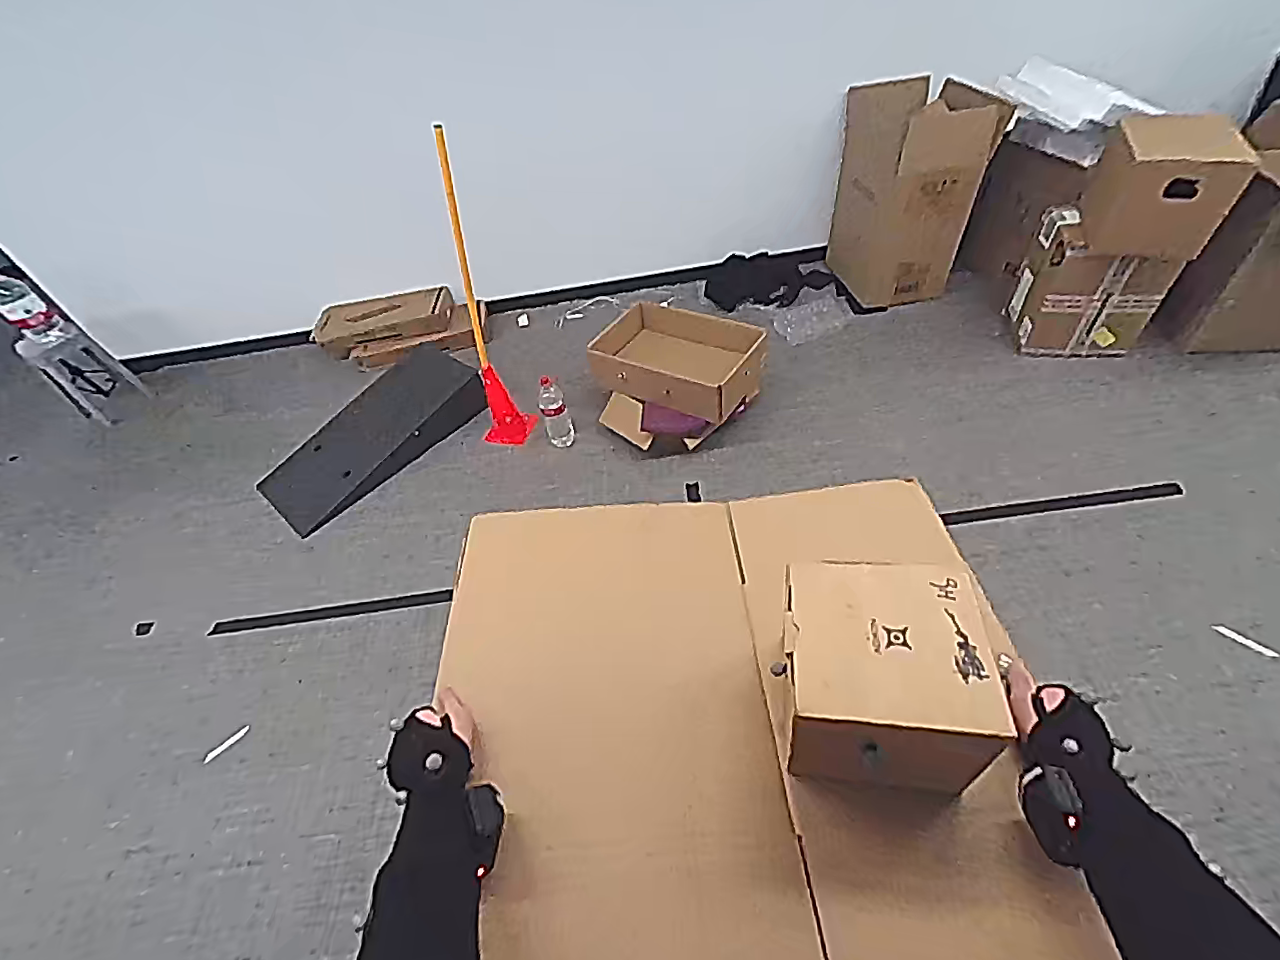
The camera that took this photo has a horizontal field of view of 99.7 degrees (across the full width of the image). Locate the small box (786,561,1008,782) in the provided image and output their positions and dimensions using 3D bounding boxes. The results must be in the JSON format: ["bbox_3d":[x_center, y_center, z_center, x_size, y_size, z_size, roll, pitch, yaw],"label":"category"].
[{"bbox_3d":[0.247,0.202,0.572,0.179,0.176,0.168,-1,47,13],"label":"small box"}]
